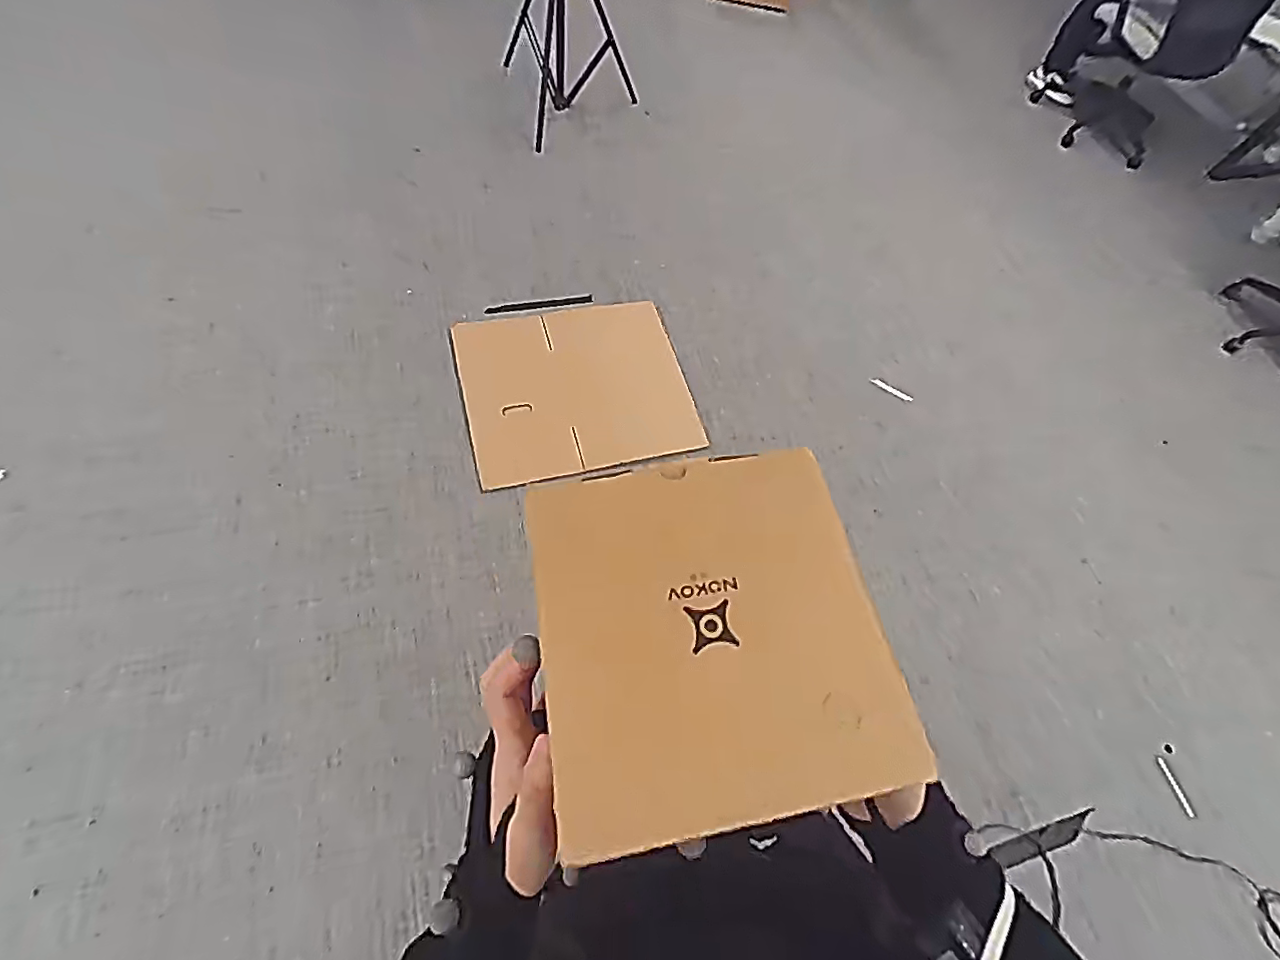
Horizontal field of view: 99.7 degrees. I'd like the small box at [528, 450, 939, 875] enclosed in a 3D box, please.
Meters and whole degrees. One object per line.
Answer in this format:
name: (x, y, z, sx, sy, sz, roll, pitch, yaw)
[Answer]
small box: (0.032, 0.107, 0.329, 0.168, 0.176, 0.179, -8, 61, -7)
